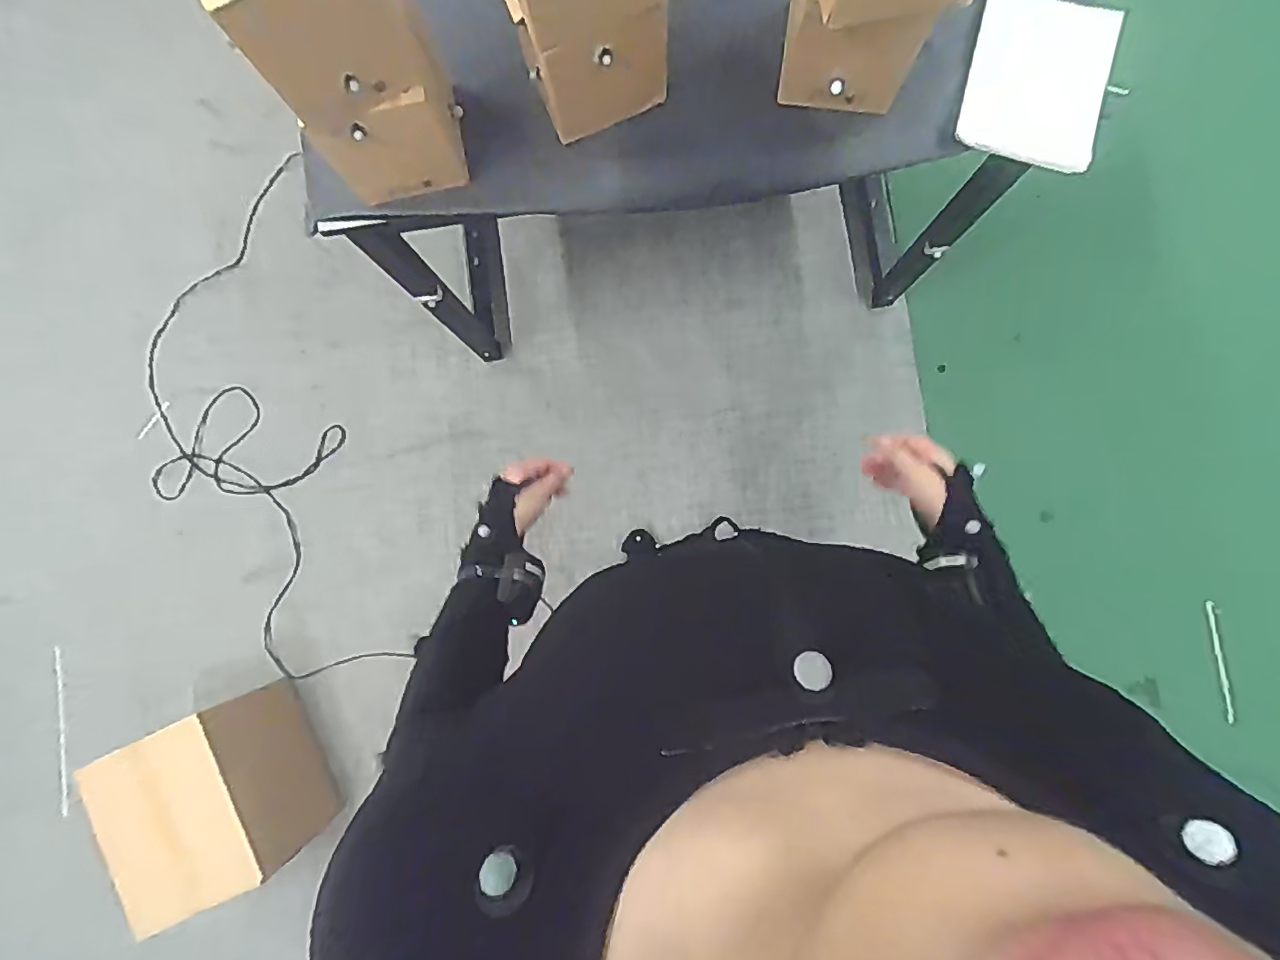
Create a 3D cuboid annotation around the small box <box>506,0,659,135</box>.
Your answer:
[{"bbox_3d":[-0.080,-0.638,0.764,0.179,0.176,0.168,-24,85,0],"label":"small box"}]

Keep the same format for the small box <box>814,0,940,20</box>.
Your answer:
[{"bbox_3d":[0.289,-0.653,0.581,0.179,0.176,0.168,-8,84,3],"label":"small box"}]

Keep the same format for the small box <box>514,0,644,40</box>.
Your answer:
[{"bbox_3d":[-0.087,-0.649,0.600,0.179,0.176,0.168,-21,85,1],"label":"small box"}]

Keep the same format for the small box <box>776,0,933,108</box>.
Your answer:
[{"bbox_3d":[0.292,-0.663,0.745,0.168,0.176,0.179,8,86,4],"label":"small box"}]

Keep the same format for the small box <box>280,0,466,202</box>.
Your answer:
[{"bbox_3d":[-0.366,-0.537,0.767,0.168,0.176,0.179,-12,85,1],"label":"small box"}]
